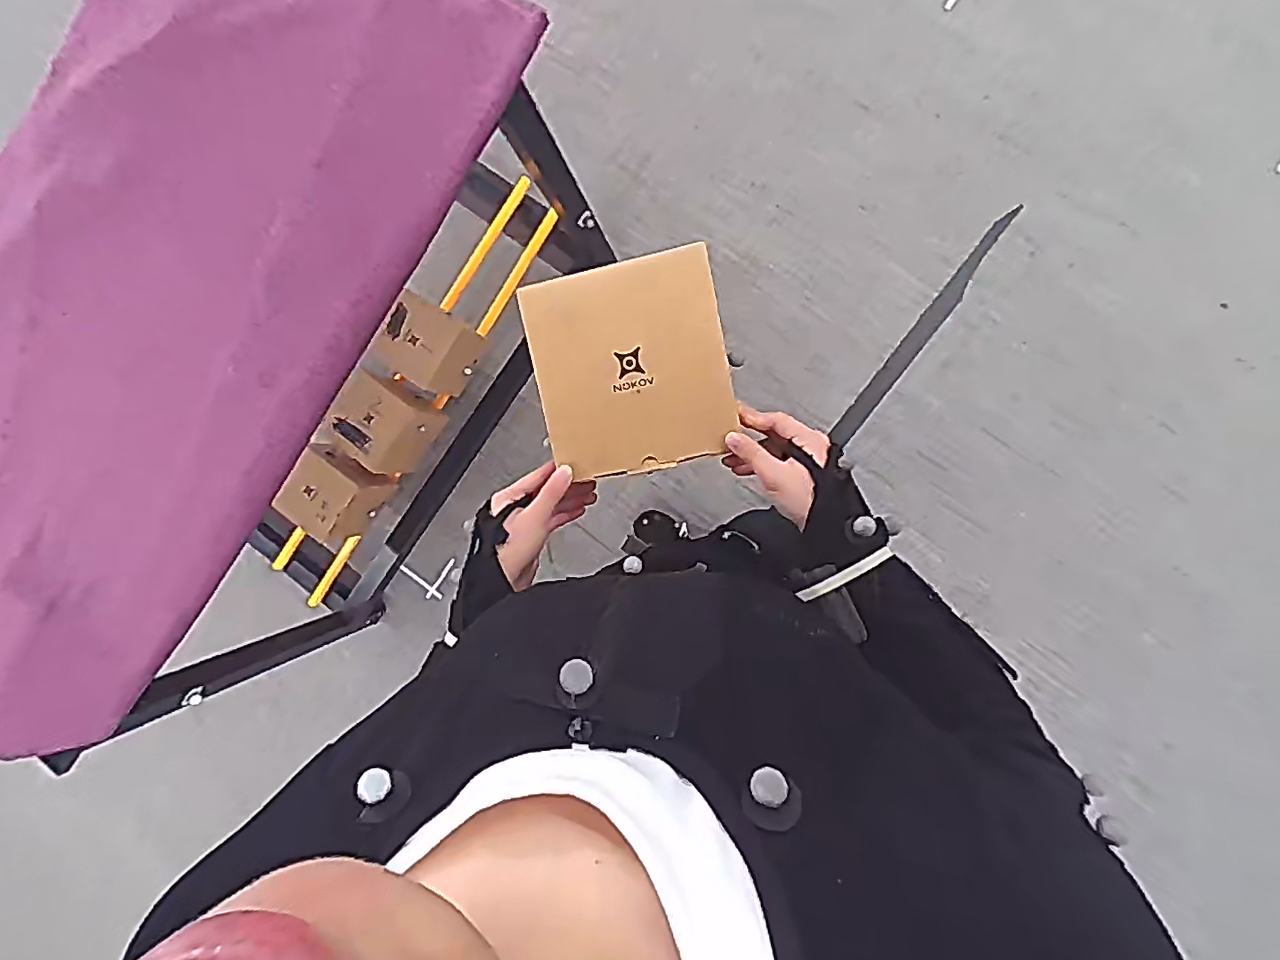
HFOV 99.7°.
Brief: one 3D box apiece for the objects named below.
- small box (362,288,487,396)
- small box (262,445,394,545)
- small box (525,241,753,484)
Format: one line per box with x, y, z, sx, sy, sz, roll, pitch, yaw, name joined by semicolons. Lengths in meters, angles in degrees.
-0.494;-0.311;1.261;0.179;0.176;0.168;34;97;4;small box
-0.741;0.034;1.300;0.179;0.176;0.168;36;95;4;small box
0.005;-0.102;0.527;0.168;0.176;0.179;-11;96;6;small box
